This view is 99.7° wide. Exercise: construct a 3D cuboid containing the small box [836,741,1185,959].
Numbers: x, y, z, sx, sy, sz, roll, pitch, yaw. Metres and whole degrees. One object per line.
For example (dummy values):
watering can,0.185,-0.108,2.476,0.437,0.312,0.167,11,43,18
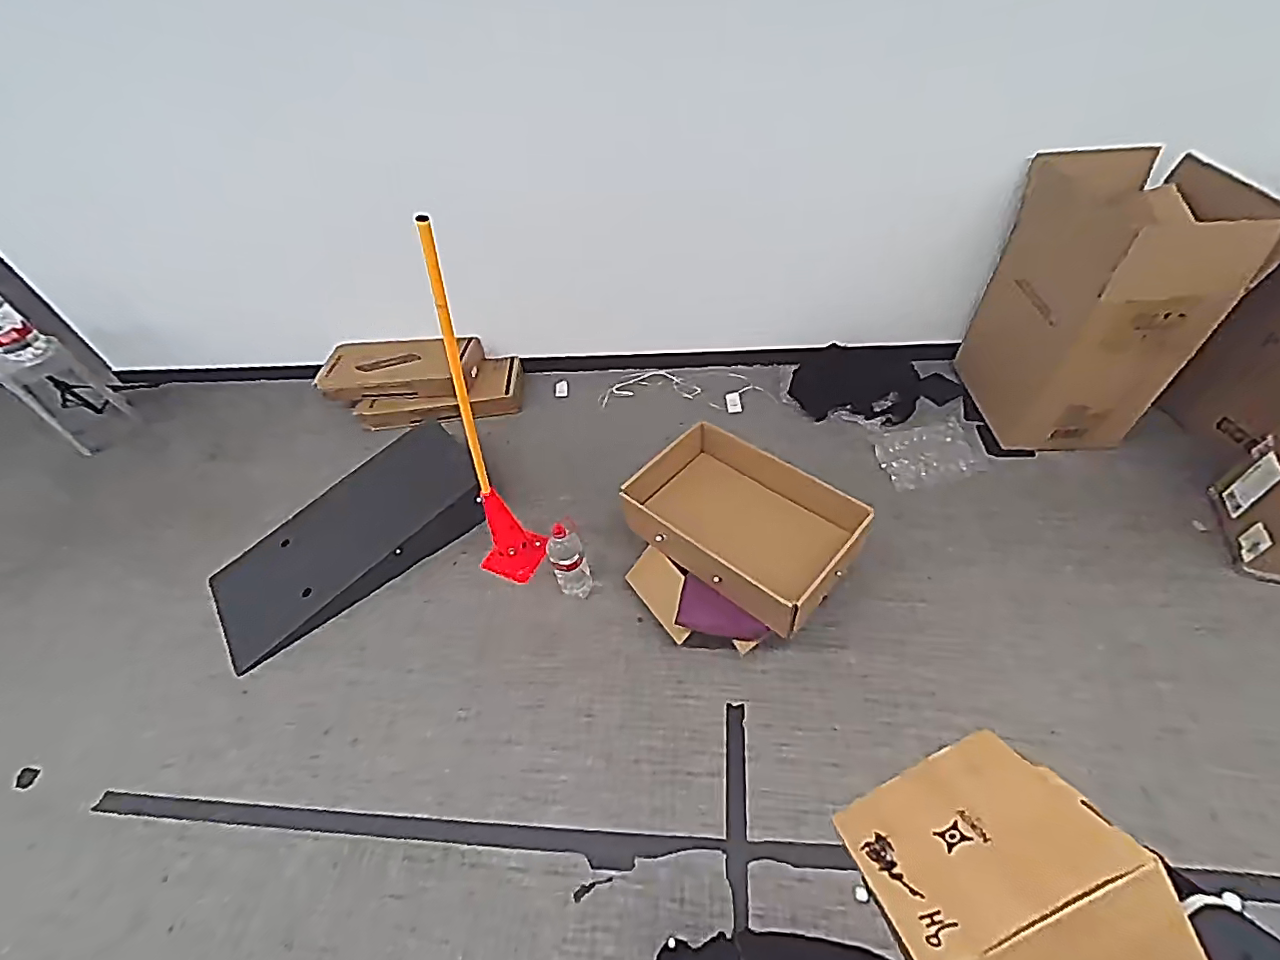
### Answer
small box,0.305,0.369,0.454,0.179,0.168,0.176,-28,93,-1
